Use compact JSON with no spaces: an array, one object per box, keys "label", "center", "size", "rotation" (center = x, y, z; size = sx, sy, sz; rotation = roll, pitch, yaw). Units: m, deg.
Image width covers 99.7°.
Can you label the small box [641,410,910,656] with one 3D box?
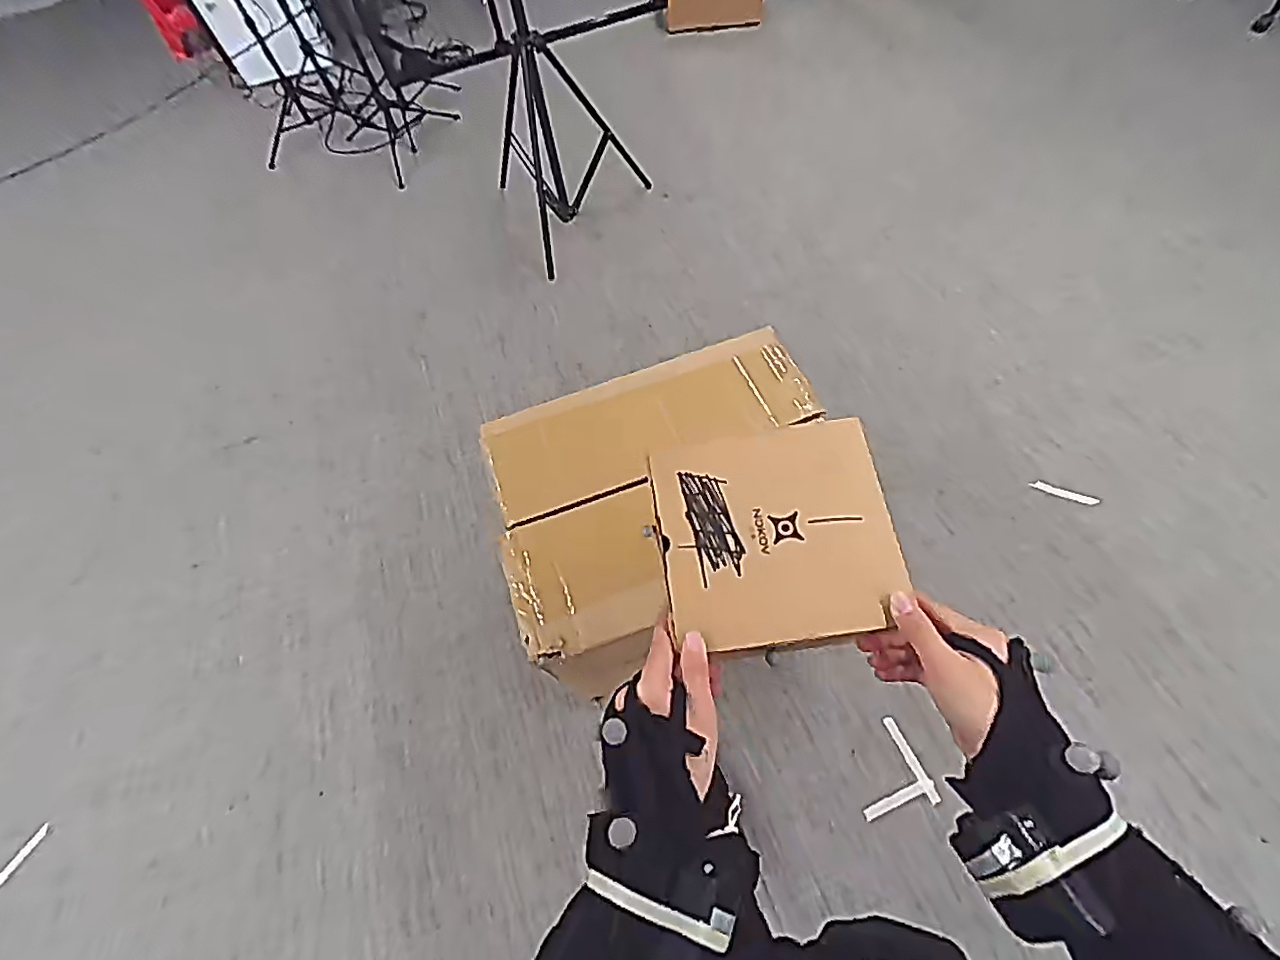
[{"label":"small box","center":[0.101,0.059,0.484],"size":[0.179,0.176,0.168],"rotation":[-8,68,0]}]
